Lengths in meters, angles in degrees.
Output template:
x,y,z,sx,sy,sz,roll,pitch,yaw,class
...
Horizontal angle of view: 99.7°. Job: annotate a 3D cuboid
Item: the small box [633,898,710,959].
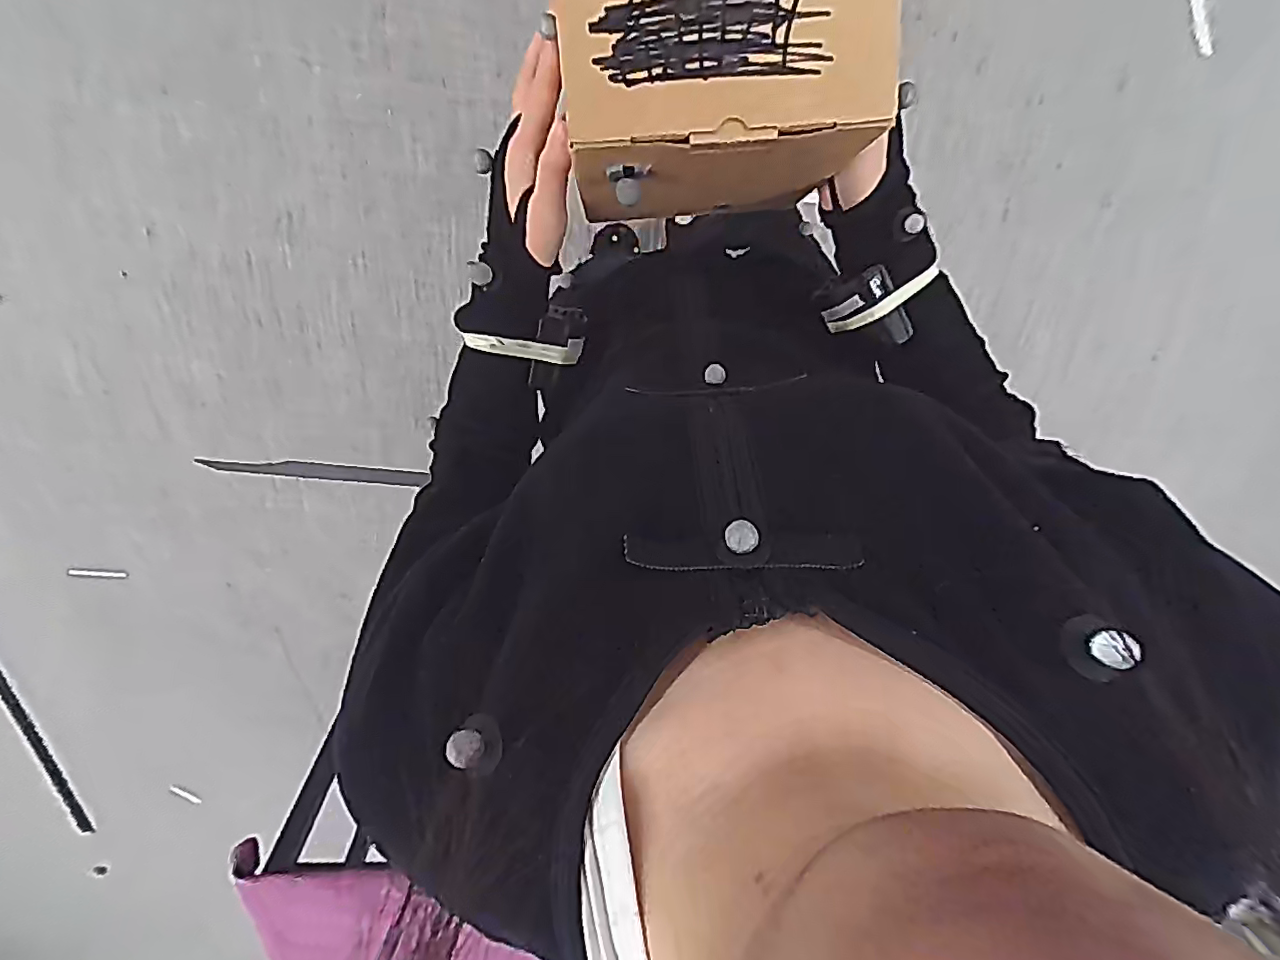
x,y,z,sx,sy,sz,roll,pitch,yaw,class
0.074,1.144,1.300,0.168,0.176,0.179,2,118,-7,small box
